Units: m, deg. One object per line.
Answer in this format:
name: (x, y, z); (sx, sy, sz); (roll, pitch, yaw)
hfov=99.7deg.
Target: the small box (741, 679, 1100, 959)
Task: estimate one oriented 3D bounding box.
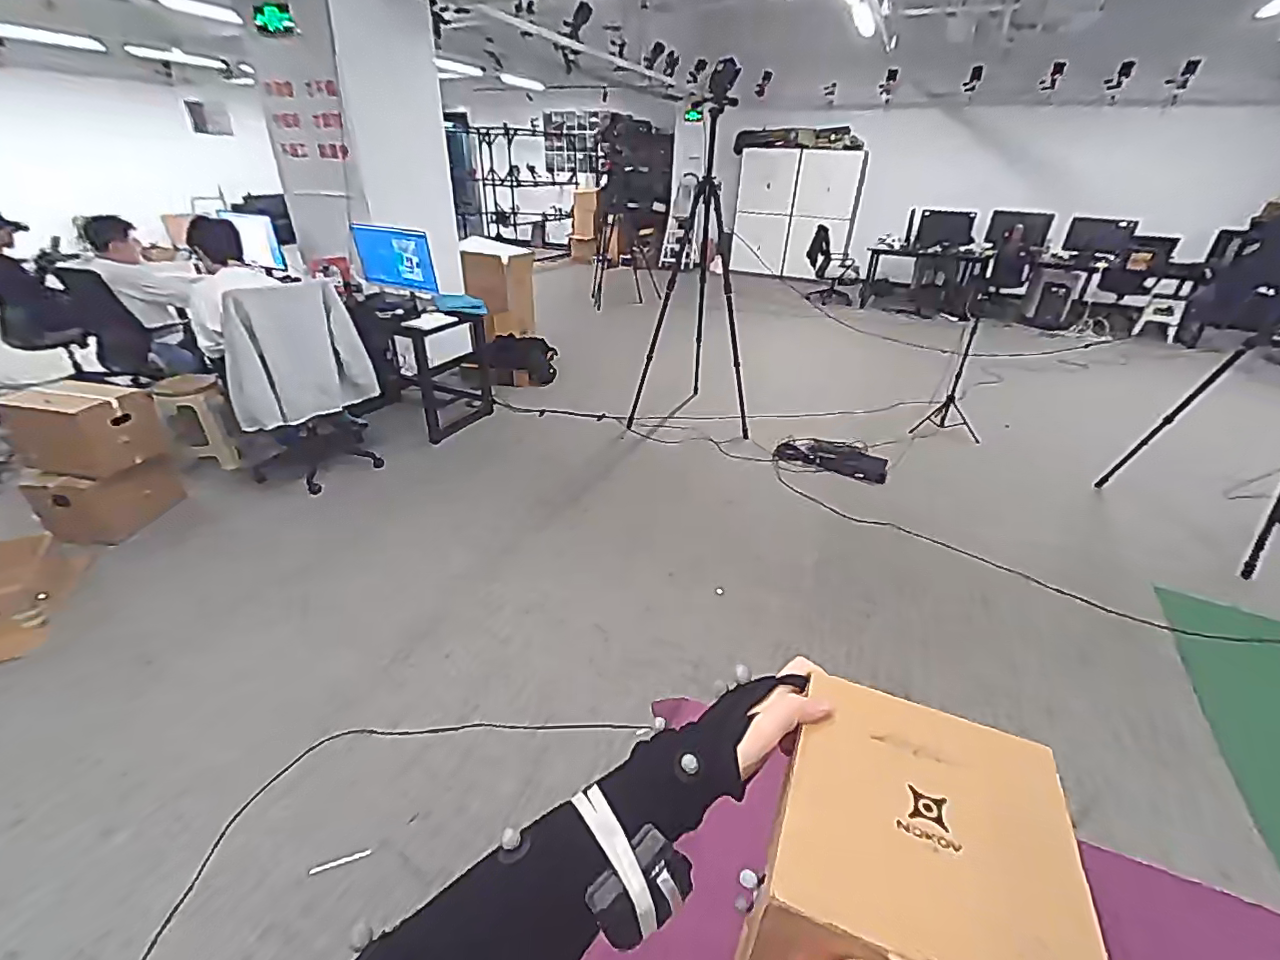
small box: (0.173, 0.284, 0.373); (0.168, 0.176, 0.179); (15, 31, 19)
